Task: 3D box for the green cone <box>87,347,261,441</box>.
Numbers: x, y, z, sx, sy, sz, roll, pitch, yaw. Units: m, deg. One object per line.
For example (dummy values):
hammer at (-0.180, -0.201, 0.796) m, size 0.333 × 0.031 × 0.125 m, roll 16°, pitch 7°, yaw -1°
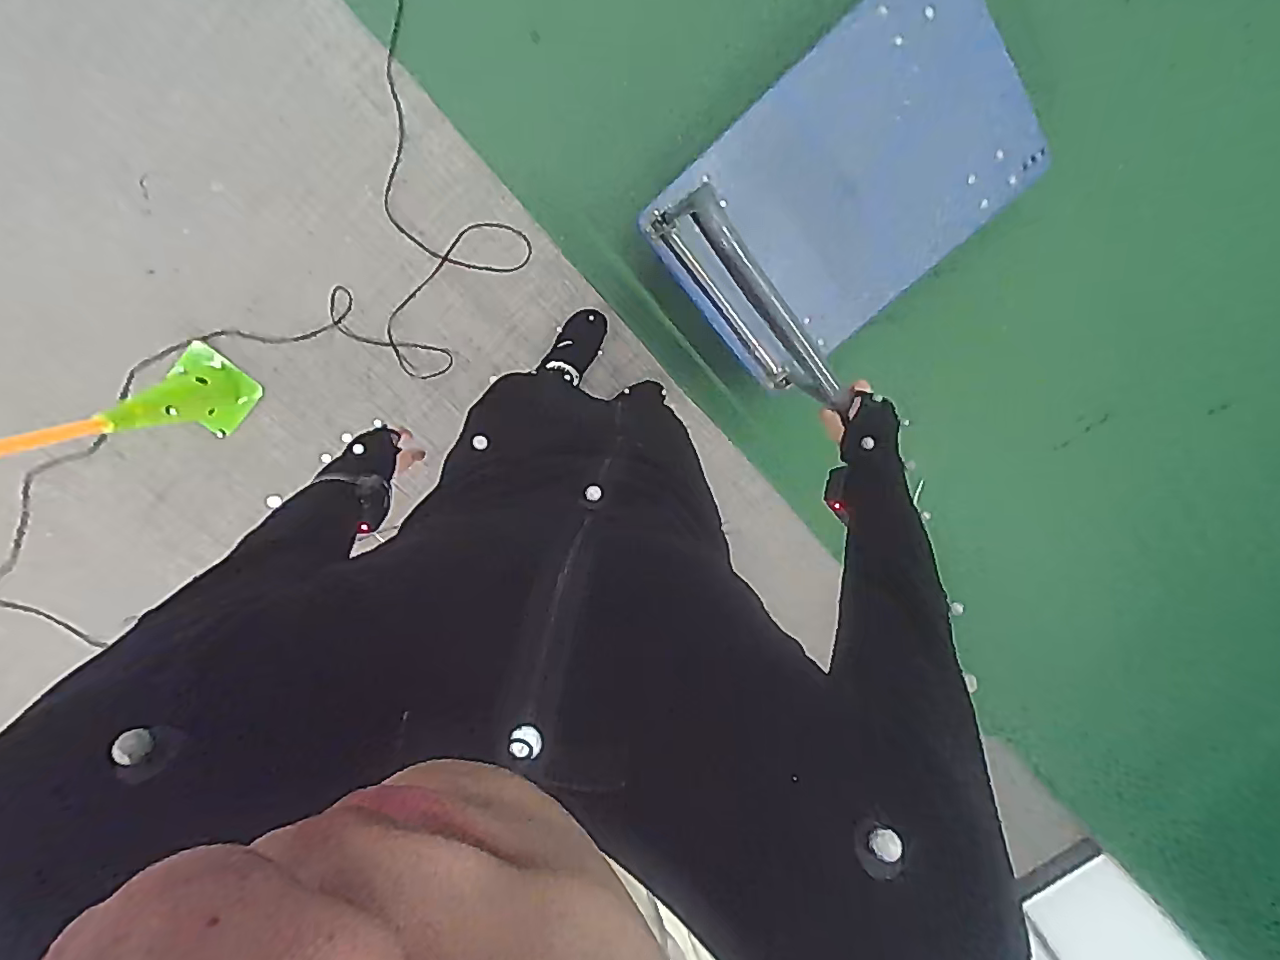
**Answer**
green cone at (-1.152, -0.175, 1.307) m, size 0.202 × 0.368 × 0.200 m, roll 42°, pitch 101°, yaw -16°
